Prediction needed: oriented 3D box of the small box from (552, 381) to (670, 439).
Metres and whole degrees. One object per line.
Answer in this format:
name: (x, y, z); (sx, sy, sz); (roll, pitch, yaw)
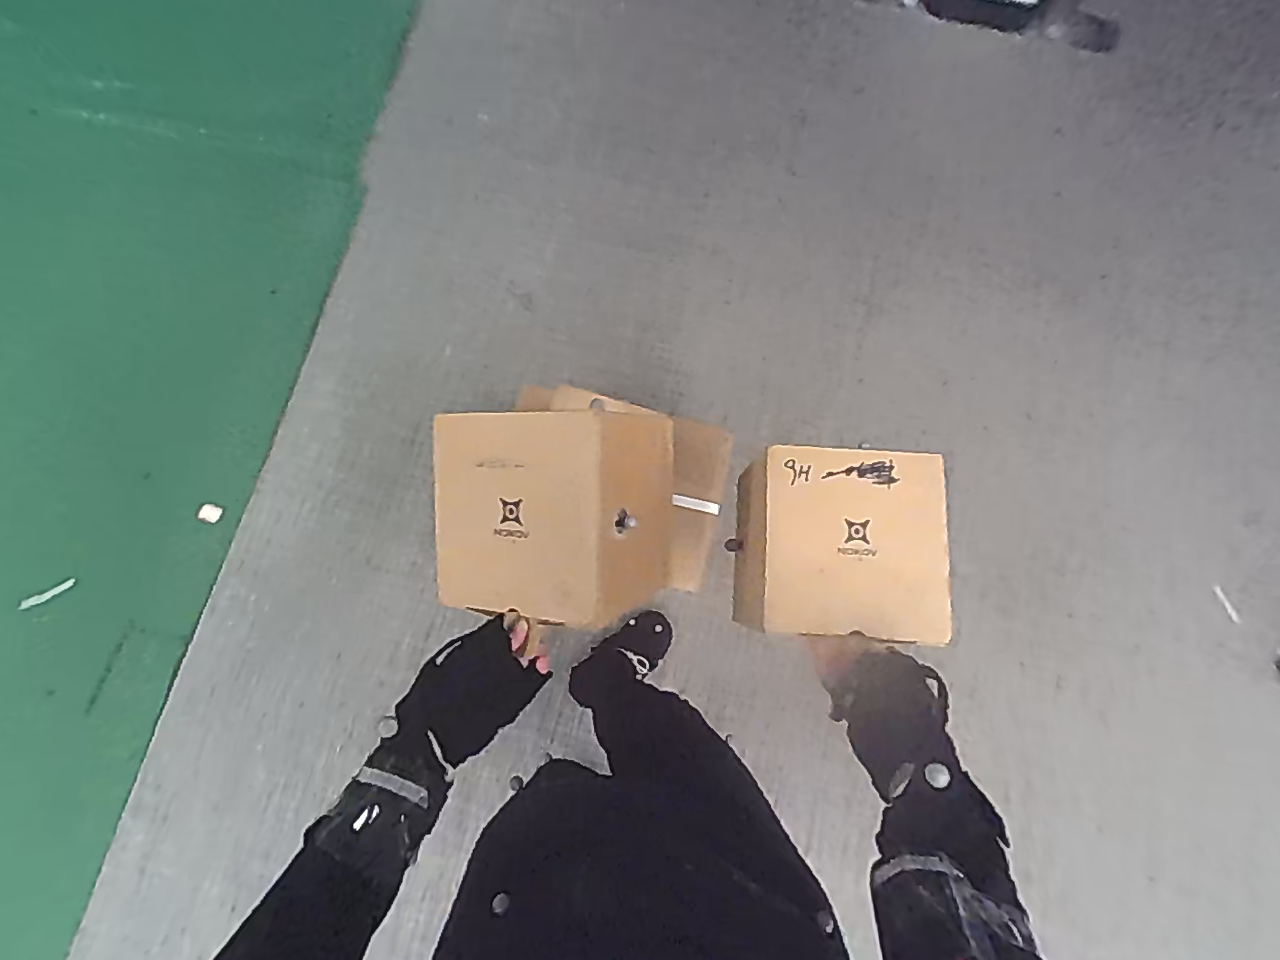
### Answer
small box: (-0.064, -0.041, 0.903); (0.179, 0.176, 0.168); (20, 84, 1)

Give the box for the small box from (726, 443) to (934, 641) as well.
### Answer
small box: (0.188, 0.067, 0.578); (0.168, 0.176, 0.179); (3, 80, 0)

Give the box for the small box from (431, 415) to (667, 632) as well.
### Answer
small box: (-0.077, 0.027, 0.526); (0.168, 0.176, 0.179); (1, 94, 23)
